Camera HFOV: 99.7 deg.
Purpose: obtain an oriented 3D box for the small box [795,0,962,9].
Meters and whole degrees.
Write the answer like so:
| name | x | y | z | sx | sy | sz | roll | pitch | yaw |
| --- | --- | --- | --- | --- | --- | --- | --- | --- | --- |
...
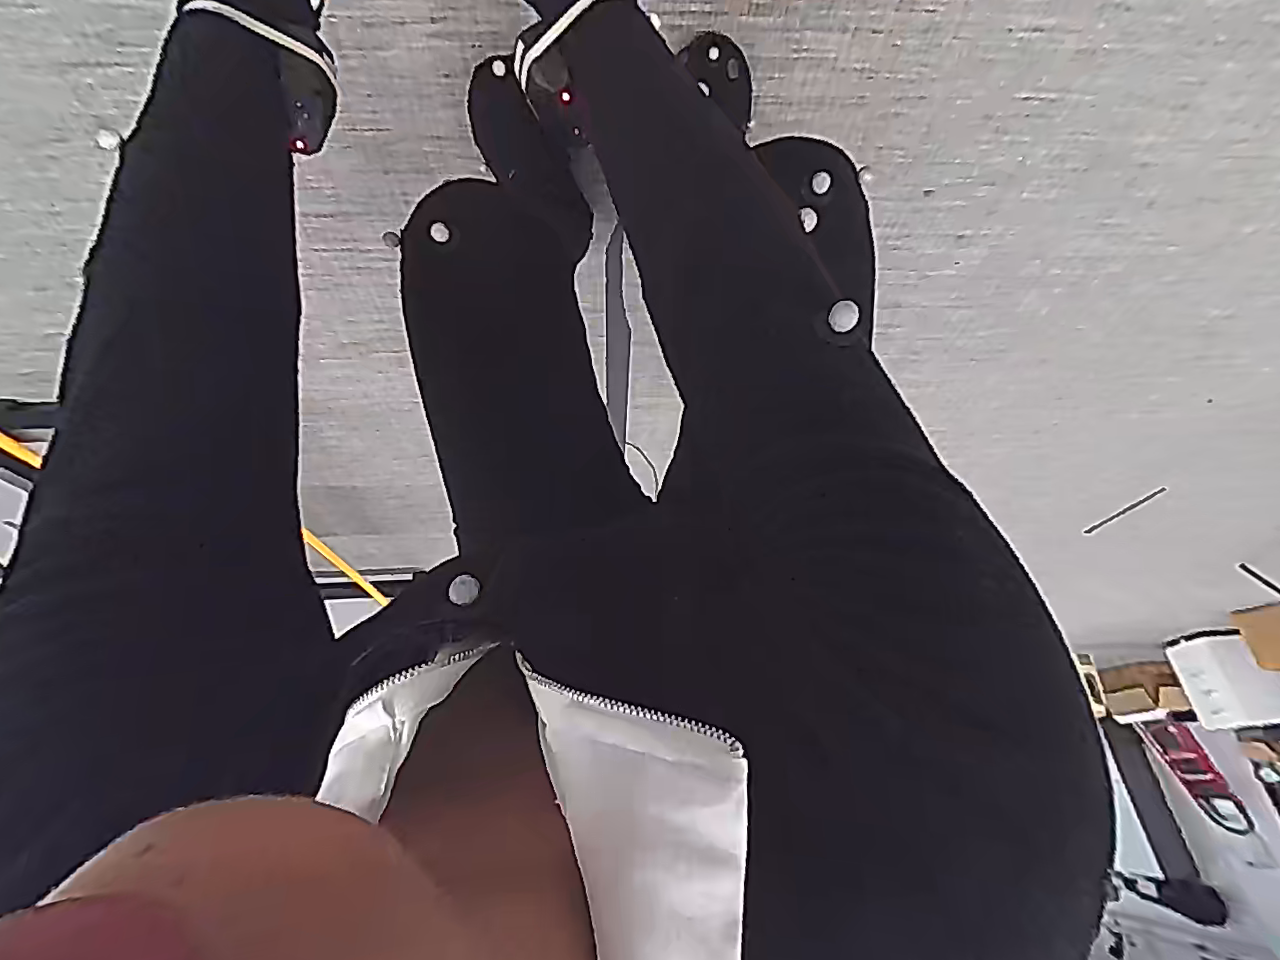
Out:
| name | x | y | z | sx | sy | sz | roll | pitch | yaw |
| --- | --- | --- | --- | --- | --- | --- | --- | --- | --- |
| small box | 0.141 | -0.438 | 0.333 | 0.168 | 0.176 | 0.179 | 0 | 152 | -4 |
